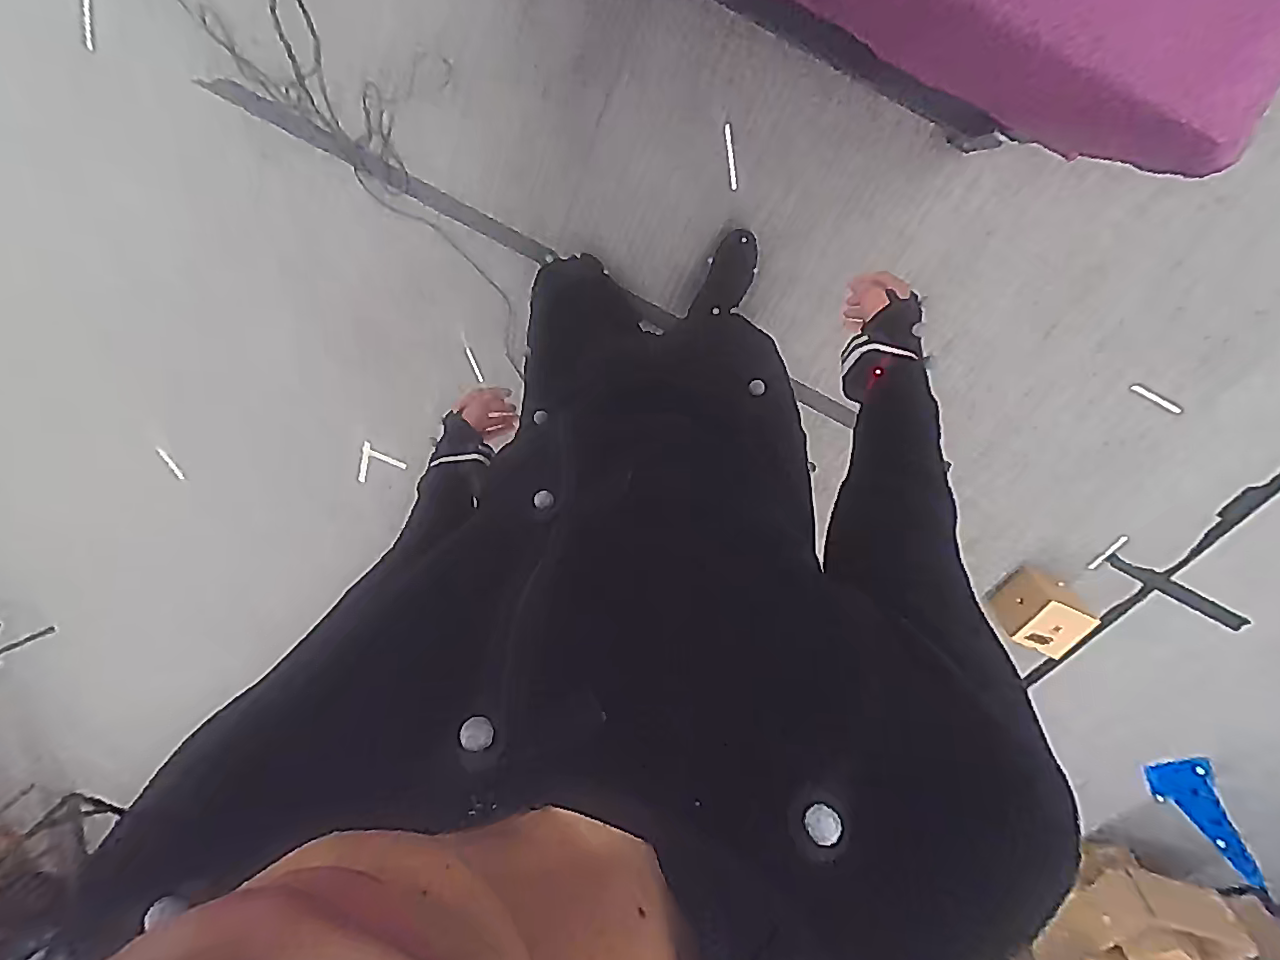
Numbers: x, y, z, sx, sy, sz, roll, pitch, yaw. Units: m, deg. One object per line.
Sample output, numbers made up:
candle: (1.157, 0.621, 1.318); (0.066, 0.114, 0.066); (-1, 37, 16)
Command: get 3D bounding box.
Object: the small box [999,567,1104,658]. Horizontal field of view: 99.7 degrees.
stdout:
small box: (1.251, 0.404, 1.666); (0.168, 0.176, 0.179); (24, 120, -3)
